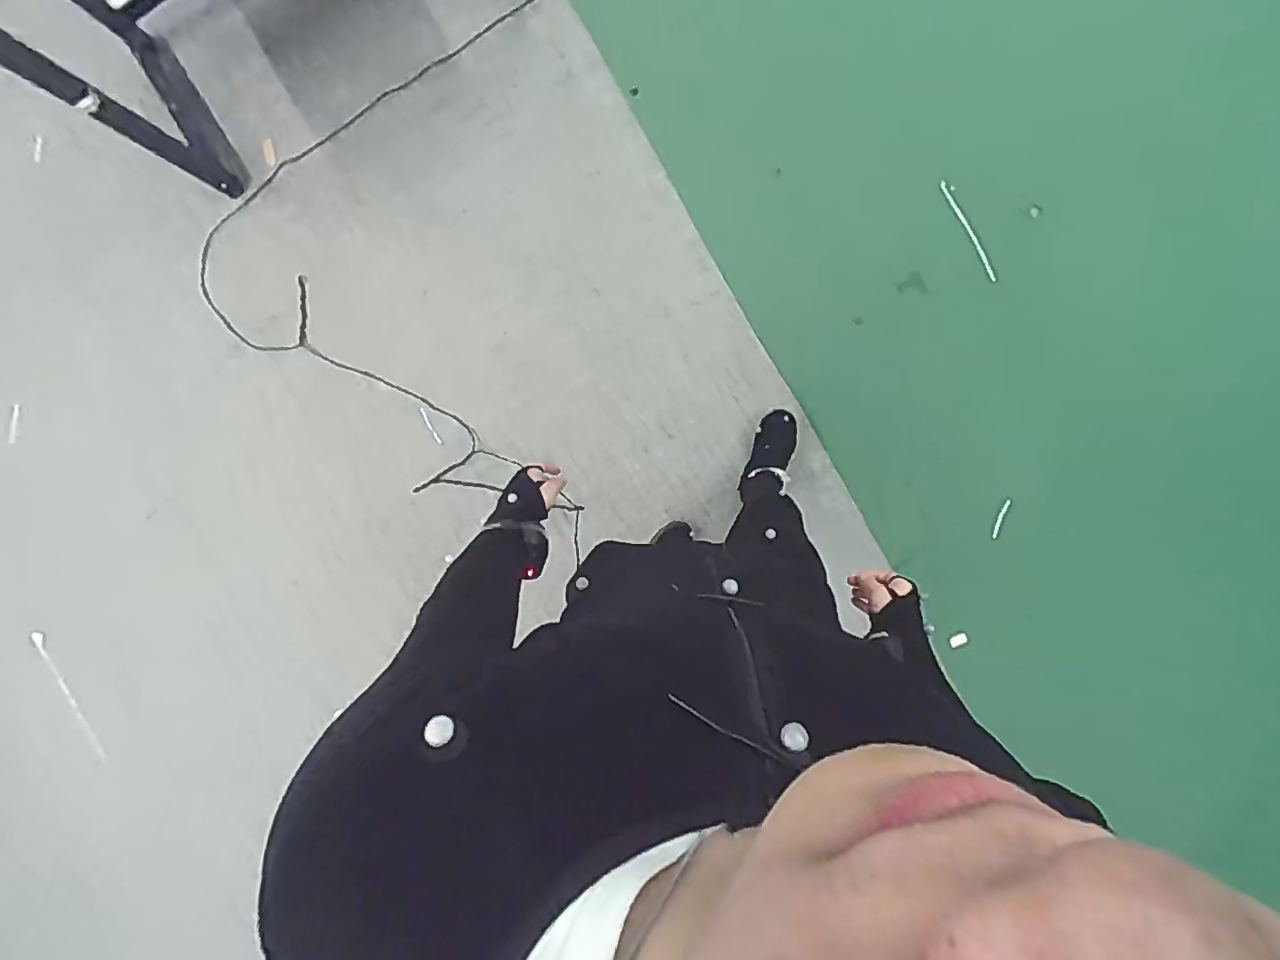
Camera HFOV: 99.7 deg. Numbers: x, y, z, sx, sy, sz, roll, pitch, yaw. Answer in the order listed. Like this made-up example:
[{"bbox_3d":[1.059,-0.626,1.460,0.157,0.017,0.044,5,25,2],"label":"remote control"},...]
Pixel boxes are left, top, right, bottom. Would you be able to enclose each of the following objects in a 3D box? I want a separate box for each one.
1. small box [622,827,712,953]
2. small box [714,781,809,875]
[{"bbox_3d":[0.073,1.057,1.407,0.179,0.176,0.168,-26,91,4],"label":"small box"},{"bbox_3d":[0.301,0.912,1.387,0.168,0.176,0.179,-30,90,5],"label":"small box"}]
